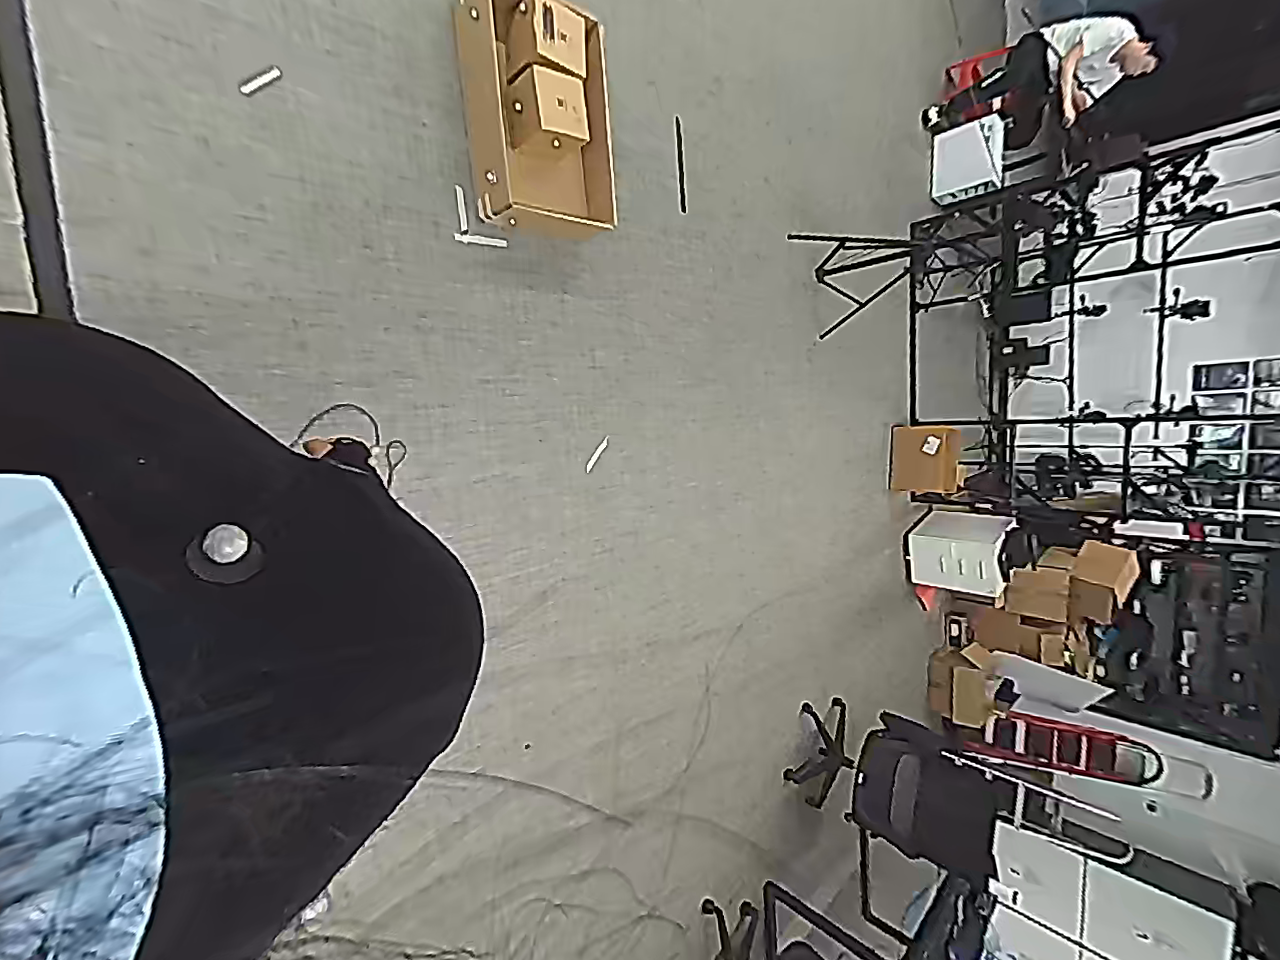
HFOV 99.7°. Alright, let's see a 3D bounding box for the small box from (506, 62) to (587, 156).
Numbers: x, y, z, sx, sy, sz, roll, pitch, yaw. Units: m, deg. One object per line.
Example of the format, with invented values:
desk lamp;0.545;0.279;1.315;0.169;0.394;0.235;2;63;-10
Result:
small box;-0.284;-1.093;1.610;0.179;0.176;0.168;-17;105;-42
